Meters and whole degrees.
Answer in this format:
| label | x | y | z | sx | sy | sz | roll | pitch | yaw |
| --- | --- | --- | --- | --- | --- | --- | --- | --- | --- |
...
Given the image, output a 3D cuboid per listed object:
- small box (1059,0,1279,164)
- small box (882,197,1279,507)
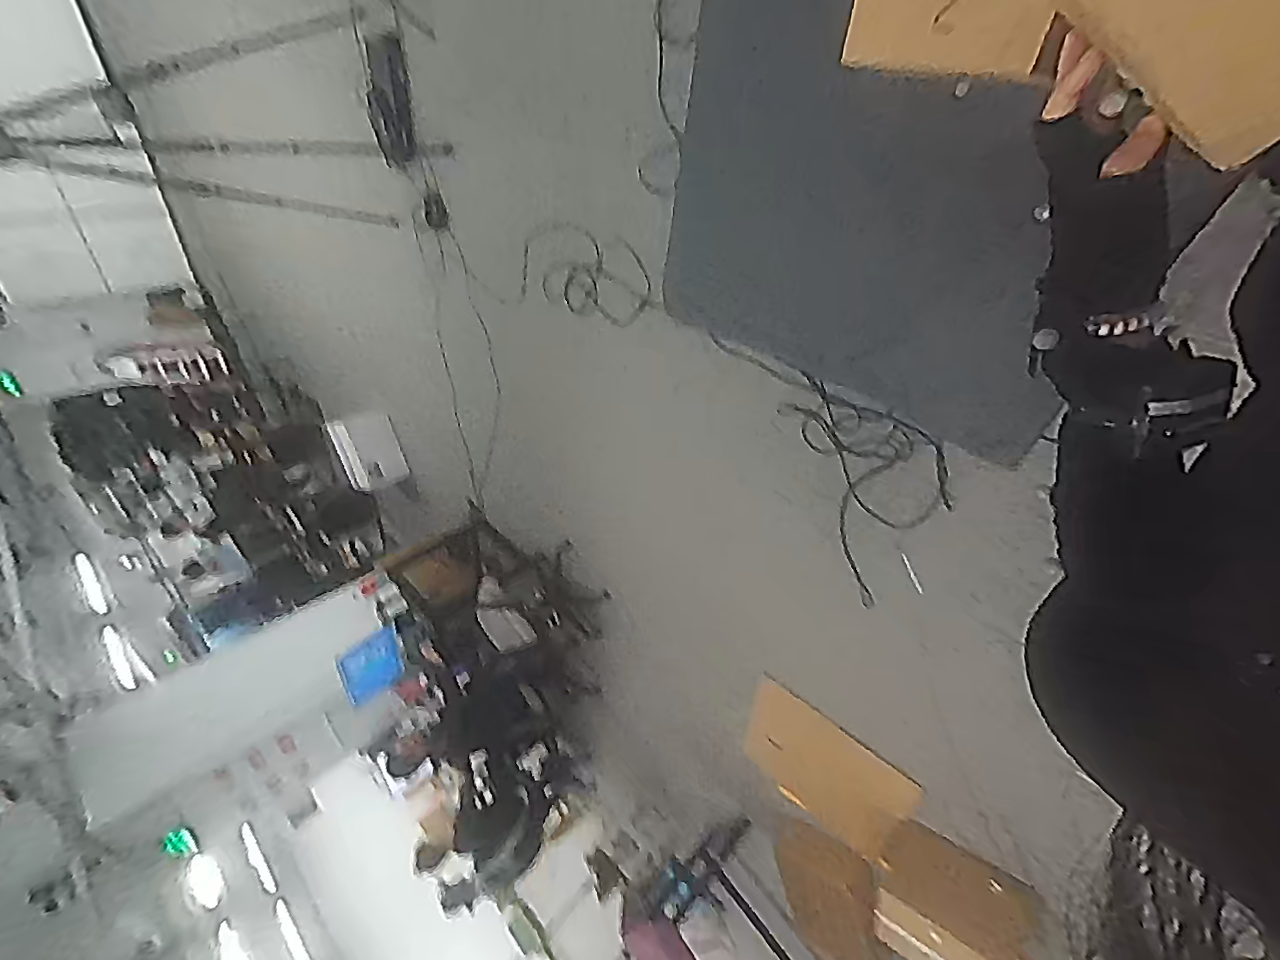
| label | x | y | z | sx | sy | sz | roll | pitch | yaw |
| --- | --- | --- | --- | --- | --- | --- | --- | --- | --- |
| small box | 0.277 | -0.279 | 0.224 | 0.179 | 0.176 | 0.168 | 41 | 137 | -6 |
| small box | 0.332 | -0.109 | 0.431 | 0.176 | 0.168 | 0.179 | 45 | 134 | 37 |
